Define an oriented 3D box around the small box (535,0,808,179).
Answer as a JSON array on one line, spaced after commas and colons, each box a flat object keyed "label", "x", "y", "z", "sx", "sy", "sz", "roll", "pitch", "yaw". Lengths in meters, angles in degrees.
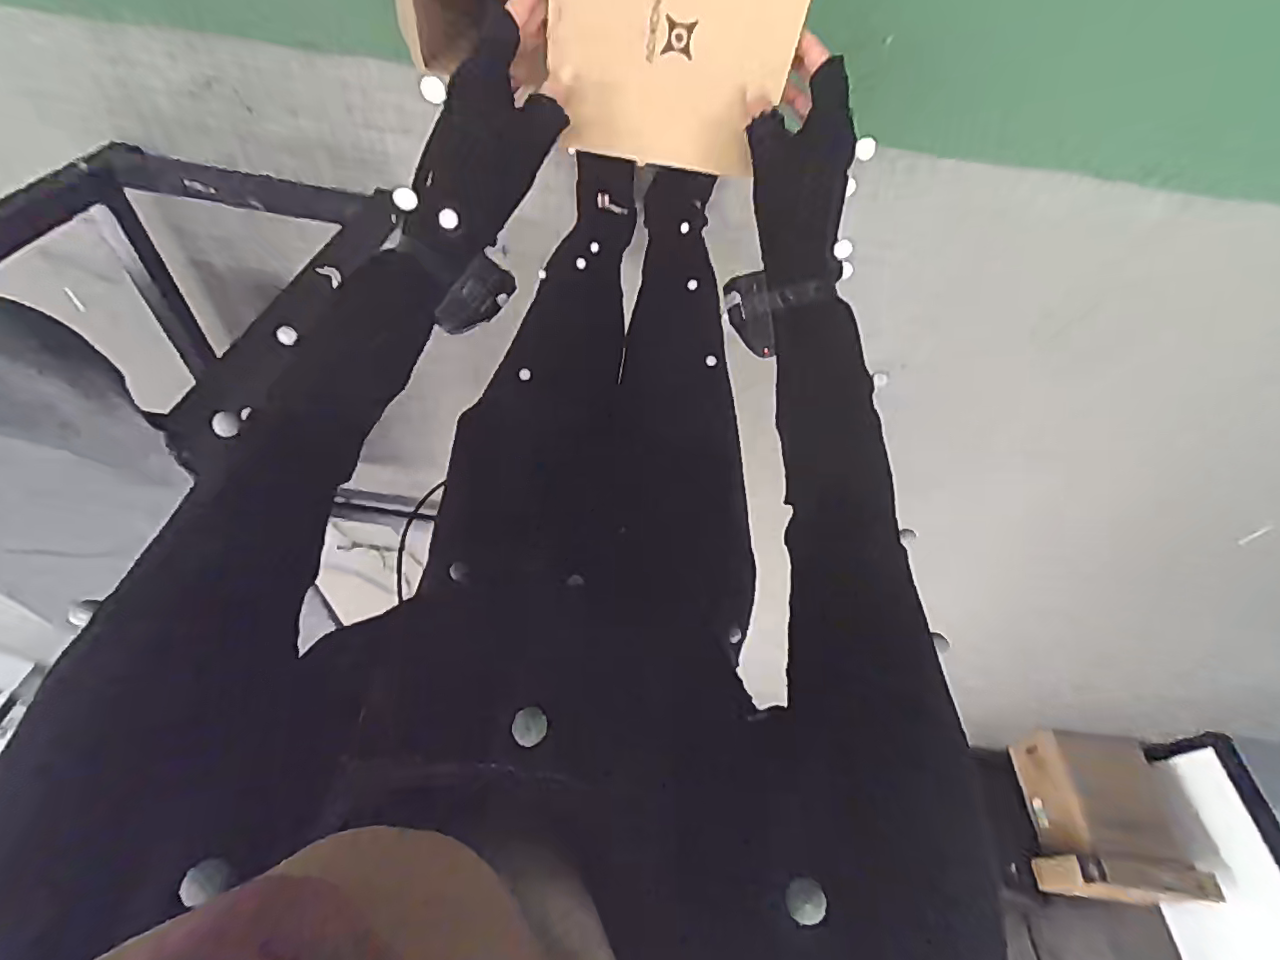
[{"label": "small box", "x": 0.020, "y": -0.361, "z": 0.409, "sx": 0.179, "sy": 0.176, "sz": 0.168, "roll": 7, "pitch": 141, "yaw": -5}]
